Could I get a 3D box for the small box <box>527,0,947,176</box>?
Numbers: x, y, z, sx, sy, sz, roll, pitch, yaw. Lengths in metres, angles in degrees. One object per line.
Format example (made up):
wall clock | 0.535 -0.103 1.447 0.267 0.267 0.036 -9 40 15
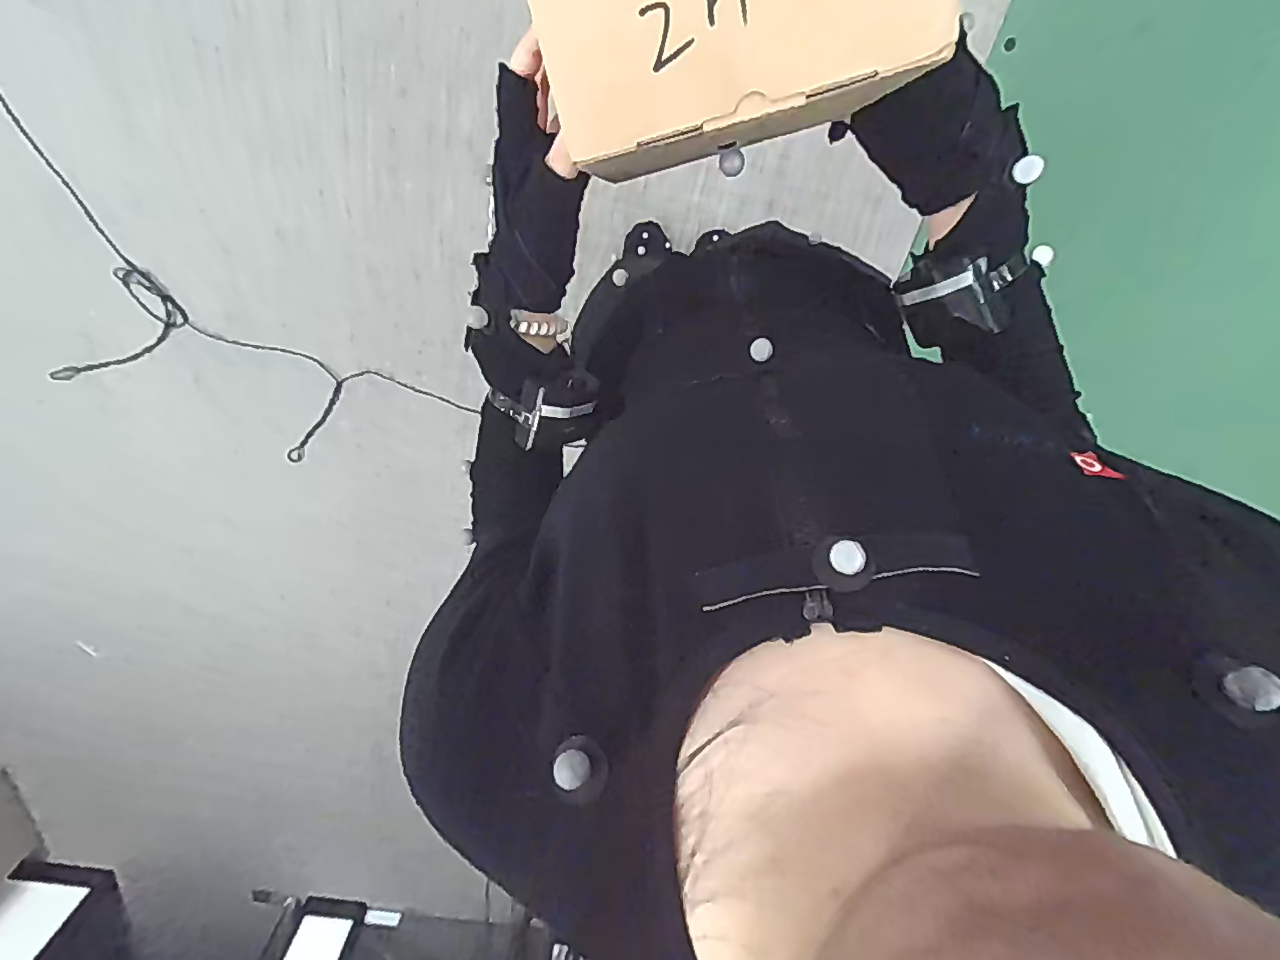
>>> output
small box | 0.030 -0.271 0.268 0.168 0.176 0.179 -11 116 10
